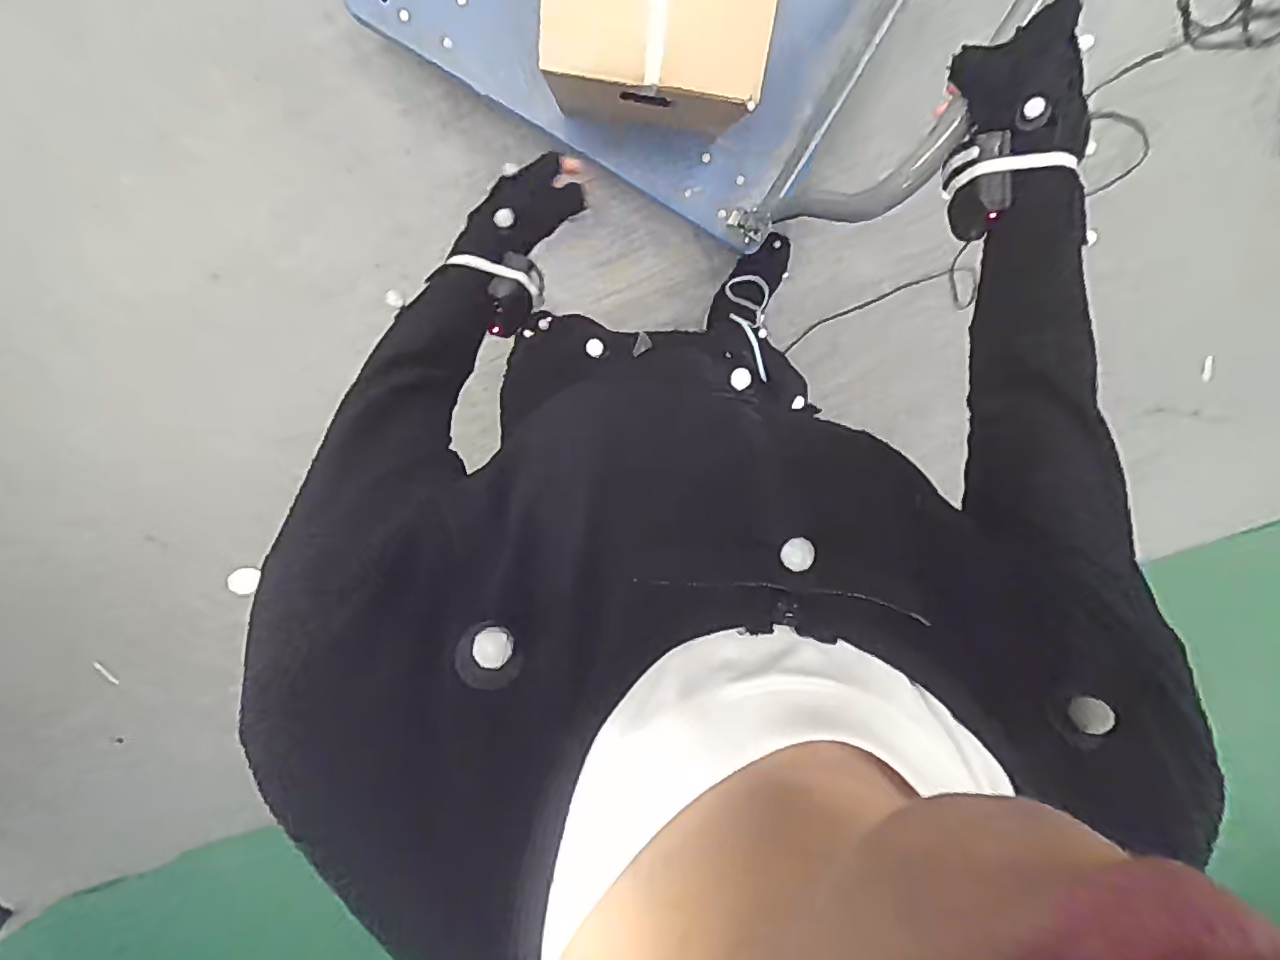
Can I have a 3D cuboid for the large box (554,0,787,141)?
[{"bbox_3d":[0.045,-0.784,0.817,0.320,0.320,0.408,6,115,-4],"label":"large box"}]
